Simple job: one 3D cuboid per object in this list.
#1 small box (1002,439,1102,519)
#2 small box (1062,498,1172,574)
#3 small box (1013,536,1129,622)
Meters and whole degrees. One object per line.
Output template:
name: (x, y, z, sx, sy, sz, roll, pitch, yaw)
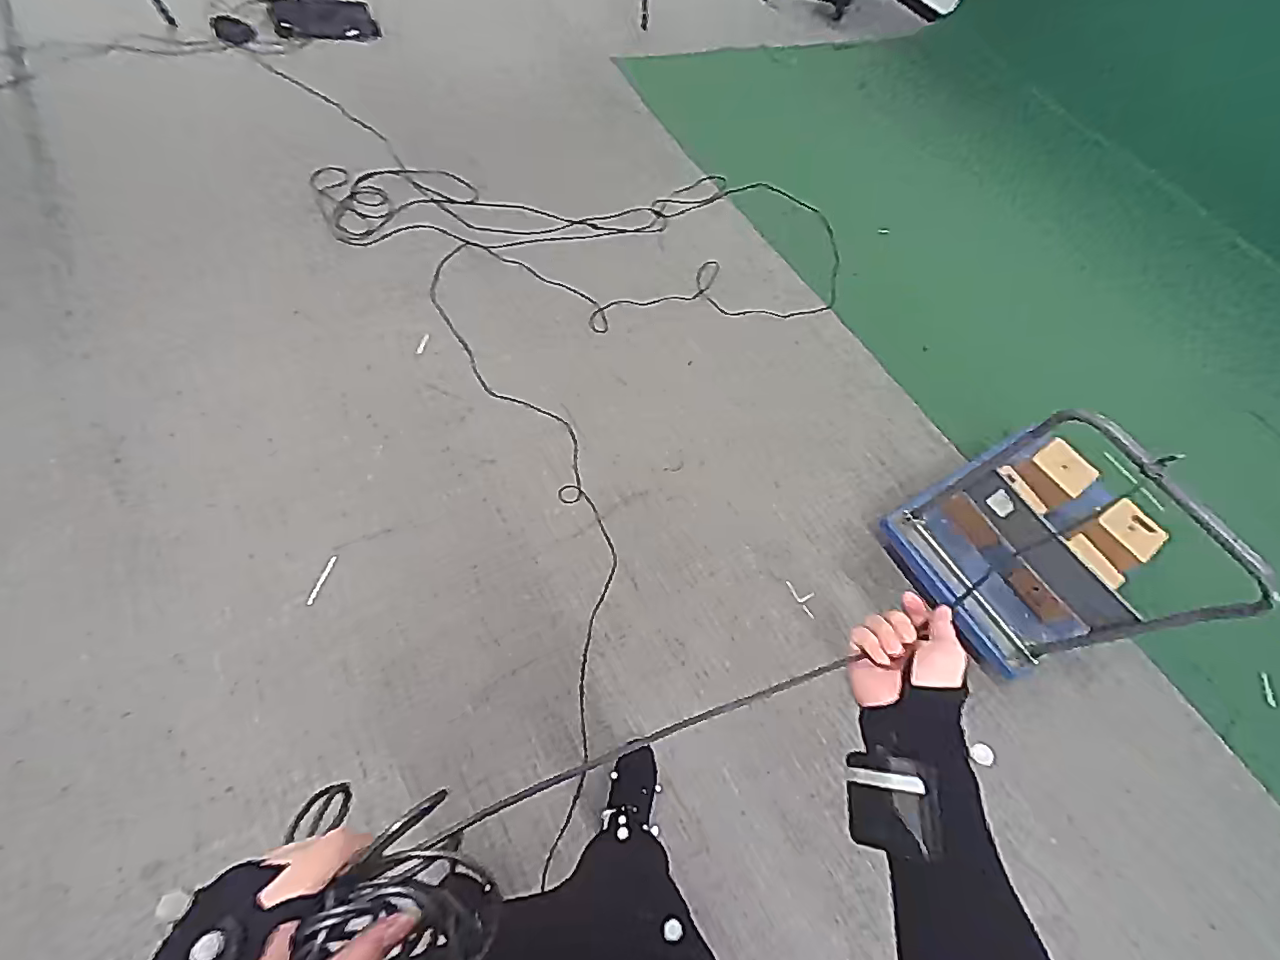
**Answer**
small box: (1.345, 0.001, 1.782, 0.179, 0.176, 0.168, -29, 70, -24)
small box: (1.491, 0.190, 1.702, 0.179, 0.176, 0.168, -29, 69, -23)
small box: (1.265, 0.296, 1.600, 0.179, 0.176, 0.168, -25, 68, -21)
